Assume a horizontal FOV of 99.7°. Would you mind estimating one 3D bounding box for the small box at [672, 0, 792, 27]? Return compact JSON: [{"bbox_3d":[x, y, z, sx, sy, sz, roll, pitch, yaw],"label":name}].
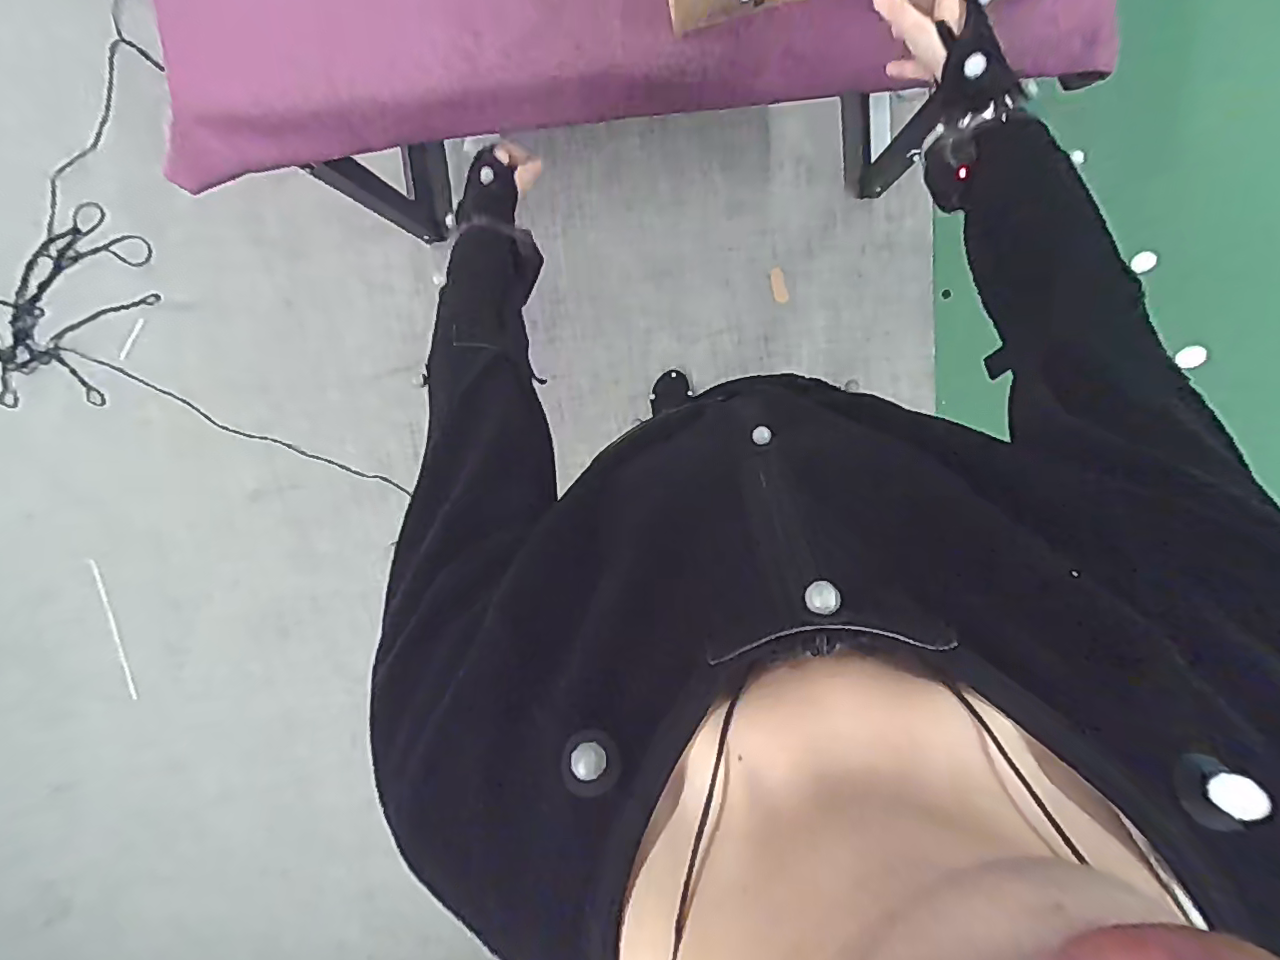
[{"bbox_3d":[0.102,-0.649,0.578,0.168,0.176,0.179,-11,98,6],"label":"small box"}]
